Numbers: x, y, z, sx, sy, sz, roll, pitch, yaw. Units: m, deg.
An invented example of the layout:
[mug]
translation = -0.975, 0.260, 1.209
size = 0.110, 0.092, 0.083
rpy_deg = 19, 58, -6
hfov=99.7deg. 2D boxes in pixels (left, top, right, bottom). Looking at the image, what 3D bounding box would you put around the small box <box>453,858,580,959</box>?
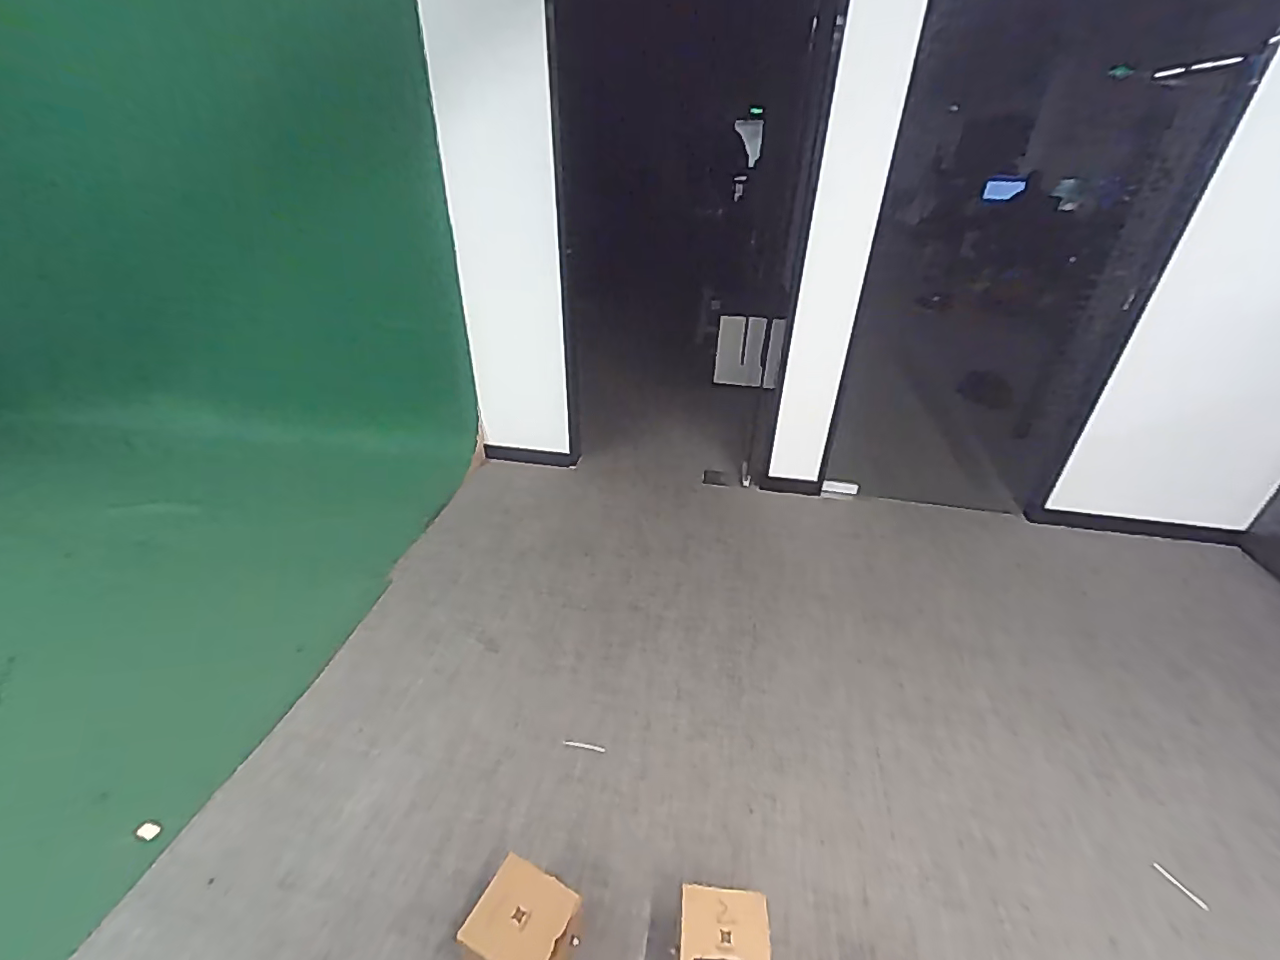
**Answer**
[small box]
translation = -0.228, 0.892, 1.046
size = 0.179, 0.176, 0.168
rpy_deg = 15, 33, 23
